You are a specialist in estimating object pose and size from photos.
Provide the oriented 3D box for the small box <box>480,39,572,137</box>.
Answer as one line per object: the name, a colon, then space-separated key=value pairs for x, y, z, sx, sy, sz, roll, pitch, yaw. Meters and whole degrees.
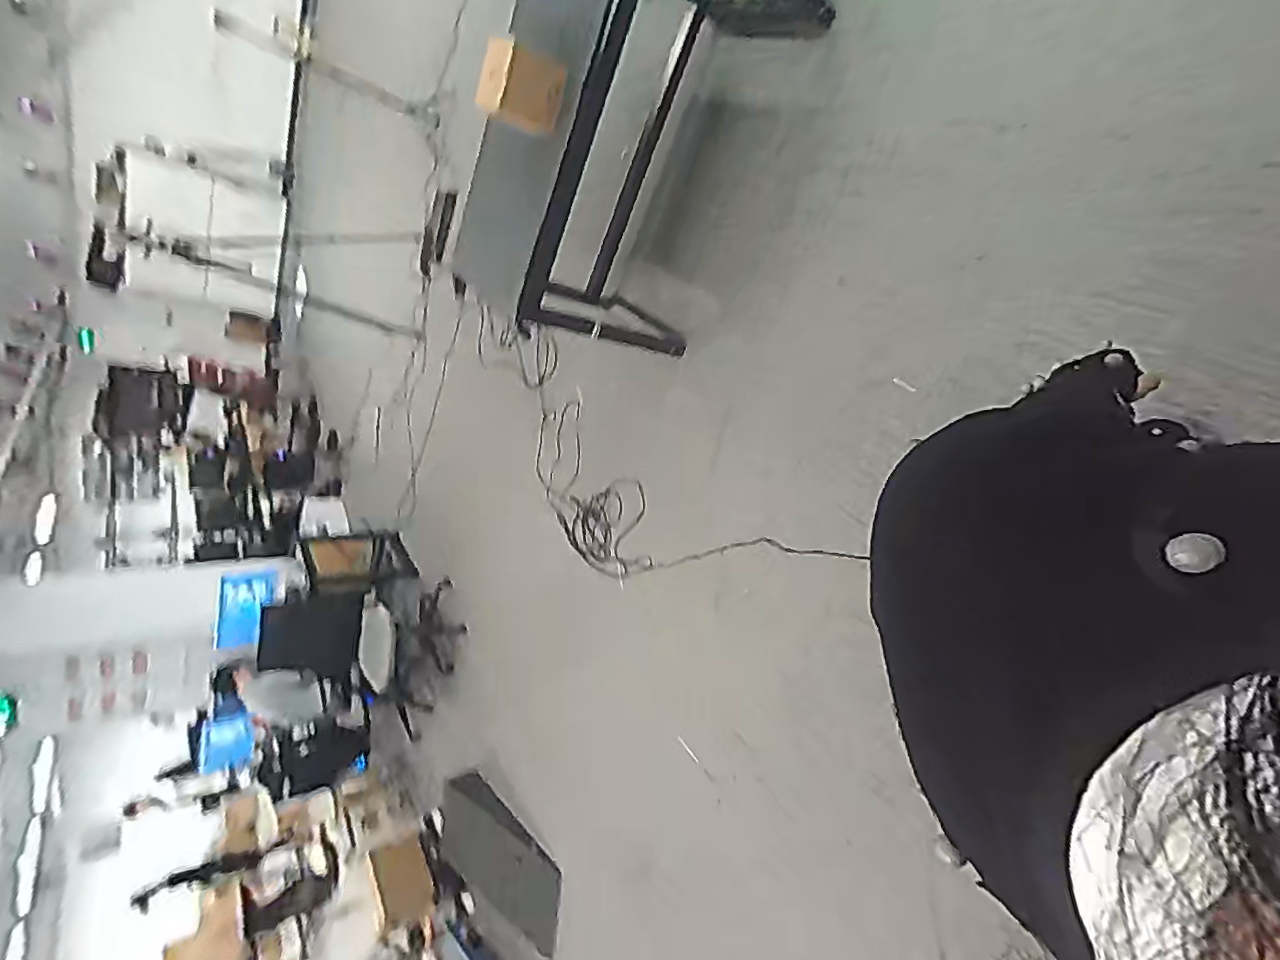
small box: x=-0.313 y=-1.068 z=1.482 sx=0.179 sy=0.176 sz=0.168 roll=42 pitch=119 yaw=42
